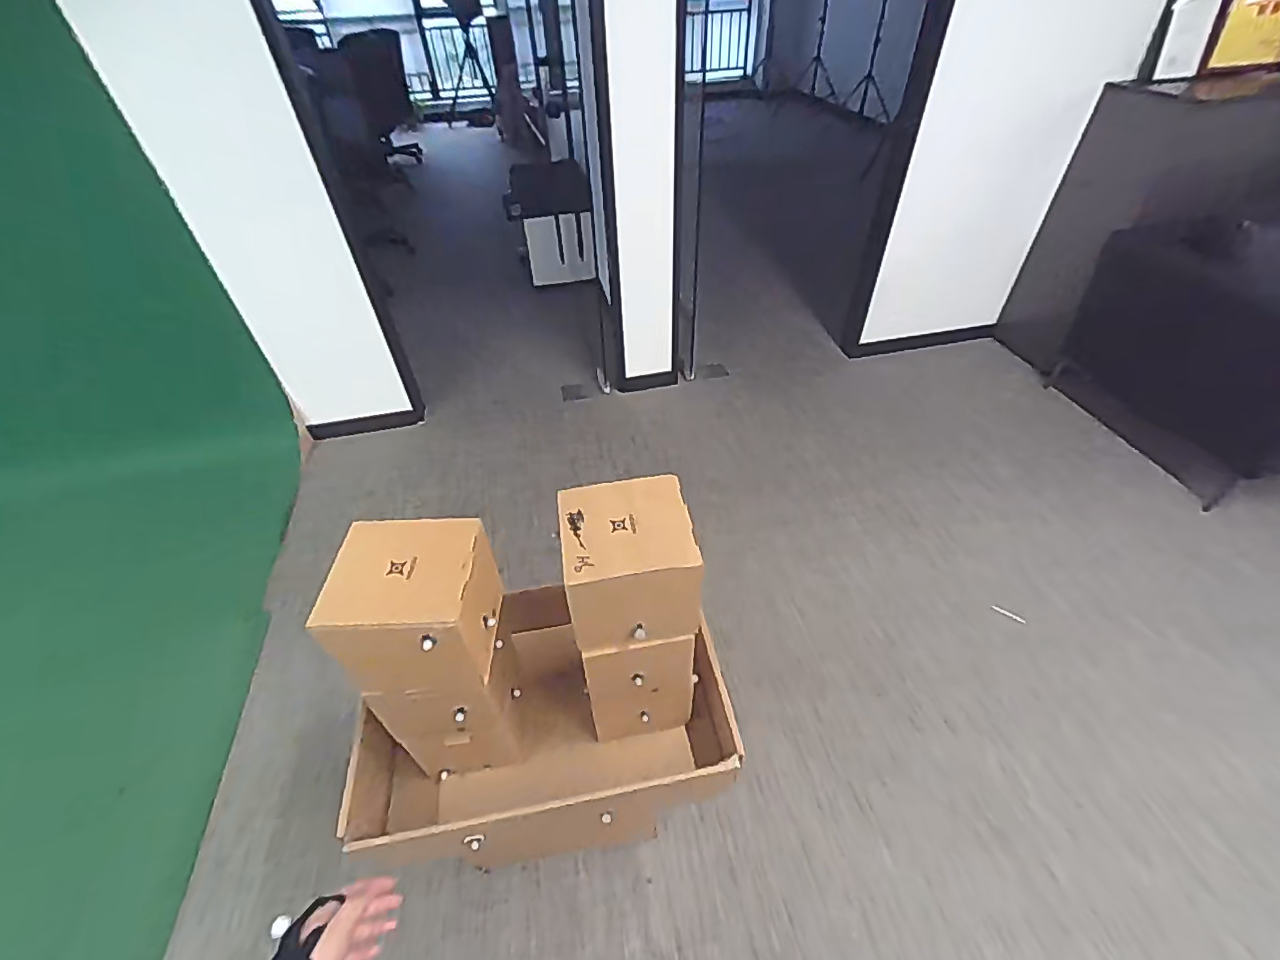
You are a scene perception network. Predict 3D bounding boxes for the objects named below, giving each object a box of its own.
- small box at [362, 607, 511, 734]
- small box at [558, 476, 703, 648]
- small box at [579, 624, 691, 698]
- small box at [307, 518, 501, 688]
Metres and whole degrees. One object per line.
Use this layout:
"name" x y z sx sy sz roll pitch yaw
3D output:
"small box" -0.304 0.284 0.854 0.168 0.176 0.179 -4 43 -3
"small box" -0.018 0.118 0.772 0.179 0.176 0.168 -7 44 -5
"small box" -0.014 0.238 0.885 0.168 0.176 0.179 -8 44 -6
"small box" -0.302 0.170 0.739 0.179 0.176 0.168 -1 44 -2
